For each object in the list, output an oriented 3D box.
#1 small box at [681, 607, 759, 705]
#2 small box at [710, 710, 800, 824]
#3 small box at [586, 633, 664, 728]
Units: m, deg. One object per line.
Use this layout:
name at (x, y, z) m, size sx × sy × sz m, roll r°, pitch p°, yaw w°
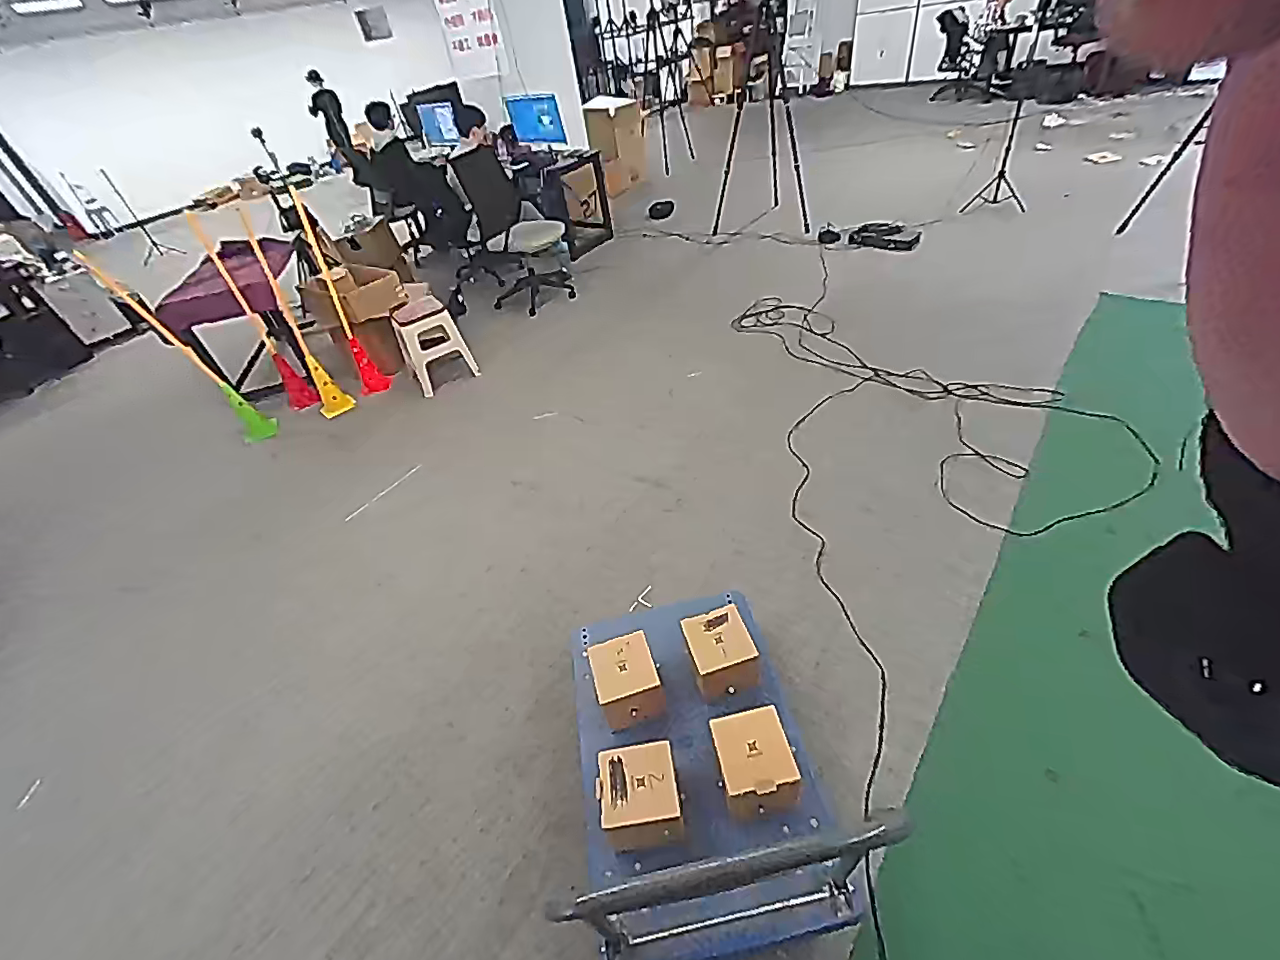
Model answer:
small box at (0.221, 0.493, 1.512) m, size 0.168 × 0.176 × 0.179 m, roll -16°, pitch 42°, yaw -5°
small box at (0.267, 0.684, 1.290) m, size 0.168 × 0.176 × 0.179 m, roll -12°, pitch 42°, yaw -2°
small box at (-0.039, 0.559, 1.491) m, size 0.168 × 0.176 × 0.179 m, roll -15°, pitch 41°, yaw -7°
